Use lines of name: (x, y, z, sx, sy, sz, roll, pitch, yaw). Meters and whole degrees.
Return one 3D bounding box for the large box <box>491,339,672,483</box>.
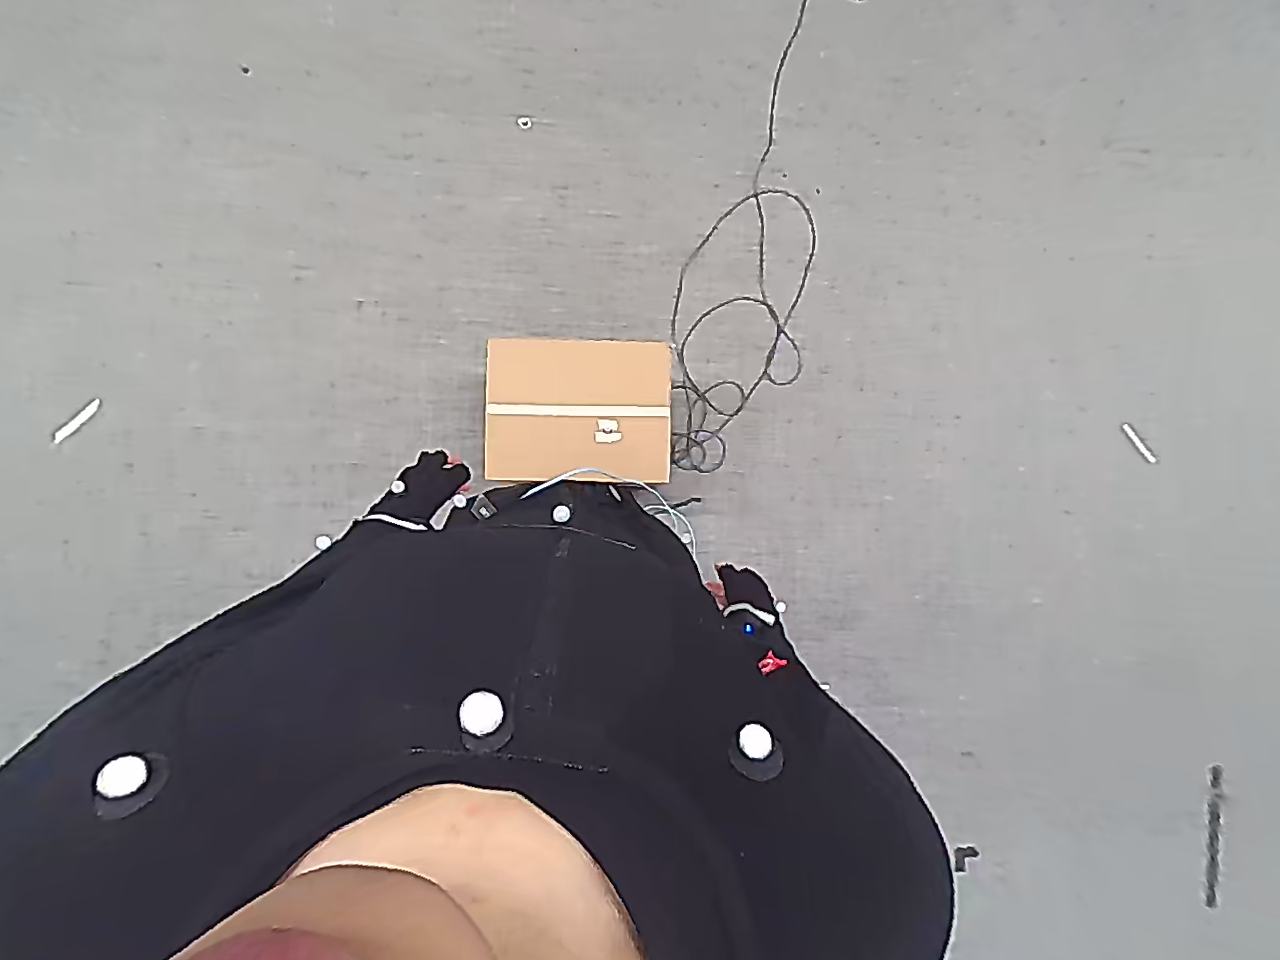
large box: (-0.136, -0.151, 1.344, 0.408, 0.320, 0.320, 1, 89, -2)
